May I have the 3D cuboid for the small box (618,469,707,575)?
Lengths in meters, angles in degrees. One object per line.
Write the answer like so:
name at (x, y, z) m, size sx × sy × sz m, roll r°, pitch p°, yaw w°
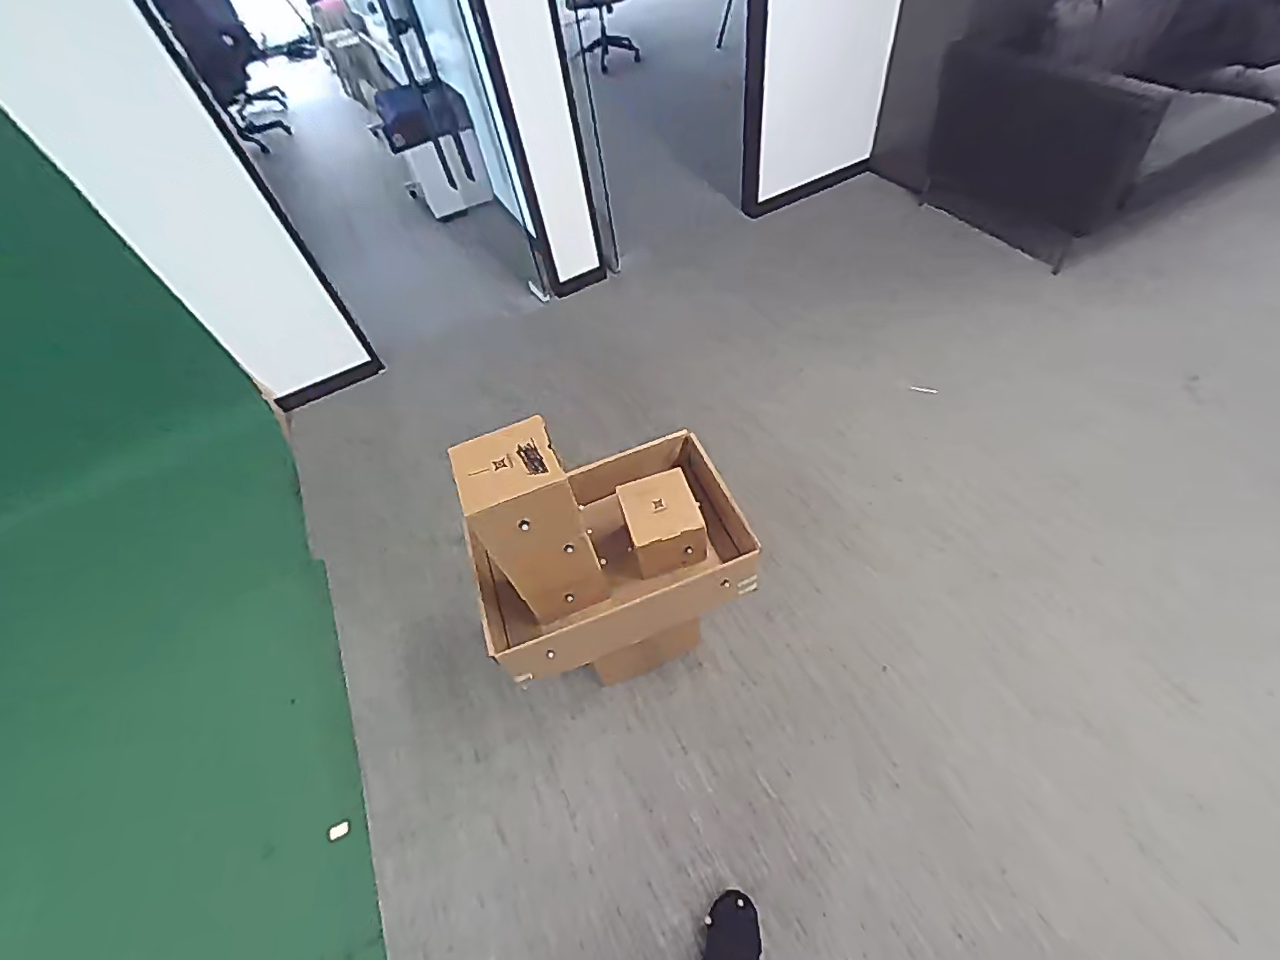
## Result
small box at (0.059, 0.109, 1.298) m, size 0.168 × 0.176 × 0.179 m, roll -17°, pitch 53°, yaw -4°

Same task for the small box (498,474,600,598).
small box at (-0.200, 0.122, 1.131) m, size 0.179 × 0.176 × 0.168 m, roll -20°, pitch 53°, yaw -6°

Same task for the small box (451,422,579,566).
small box at (-0.222, 0.029, 0.997) m, size 0.179 × 0.176 × 0.168 m, roll -22°, pitch 53°, yaw -6°
